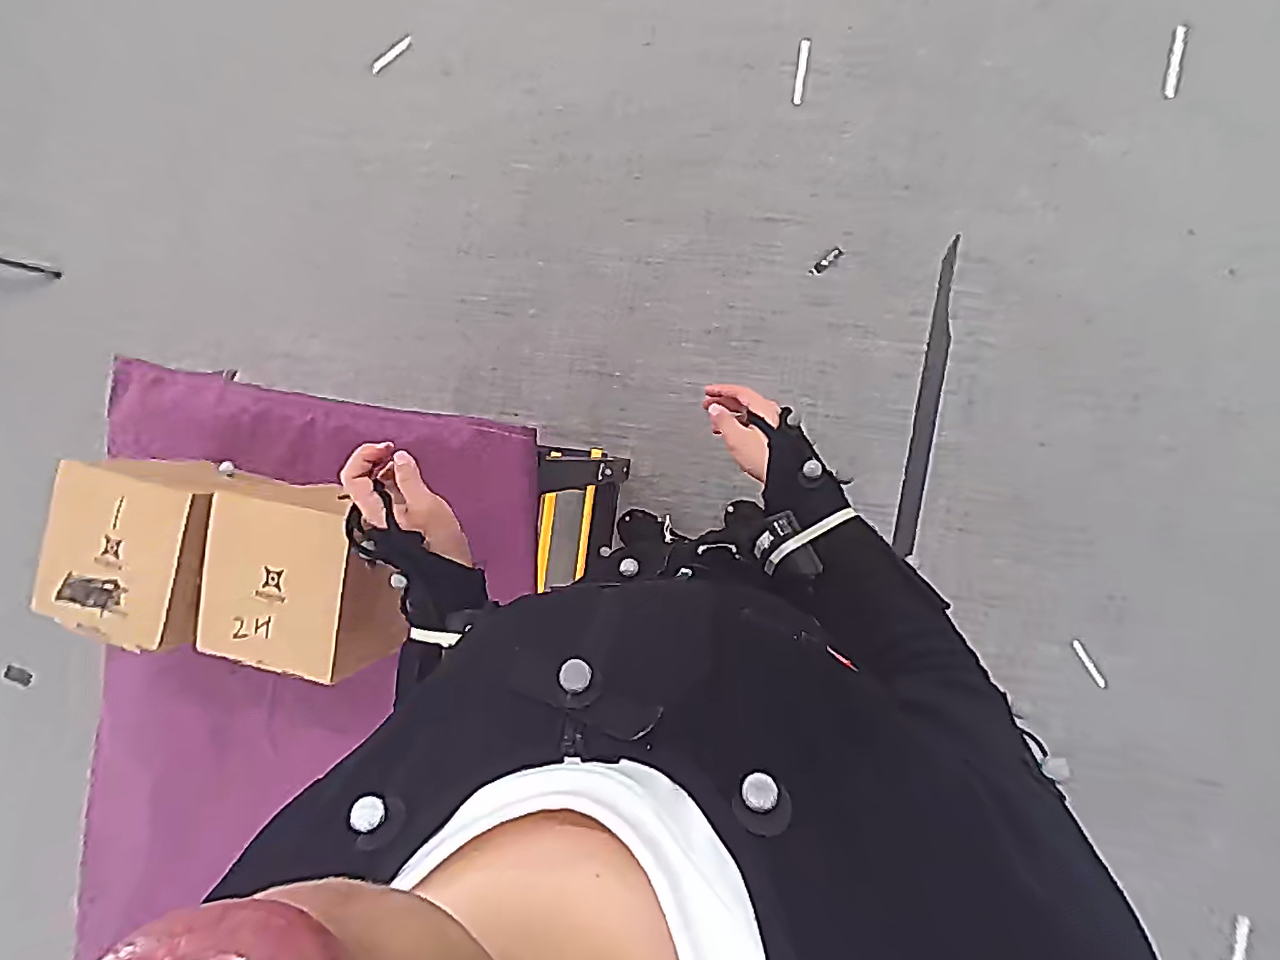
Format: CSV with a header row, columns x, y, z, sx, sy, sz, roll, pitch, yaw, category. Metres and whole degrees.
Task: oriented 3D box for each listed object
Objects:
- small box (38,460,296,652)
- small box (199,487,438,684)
x,y,z,sx,sy,sz,roll,pitch,yaw,category
-0.556,0.080,0.662,0.168,0.176,0.179,14,92,6,small box
-0.360,0.107,0.634,0.168,0.176,0.179,10,94,10,small box
